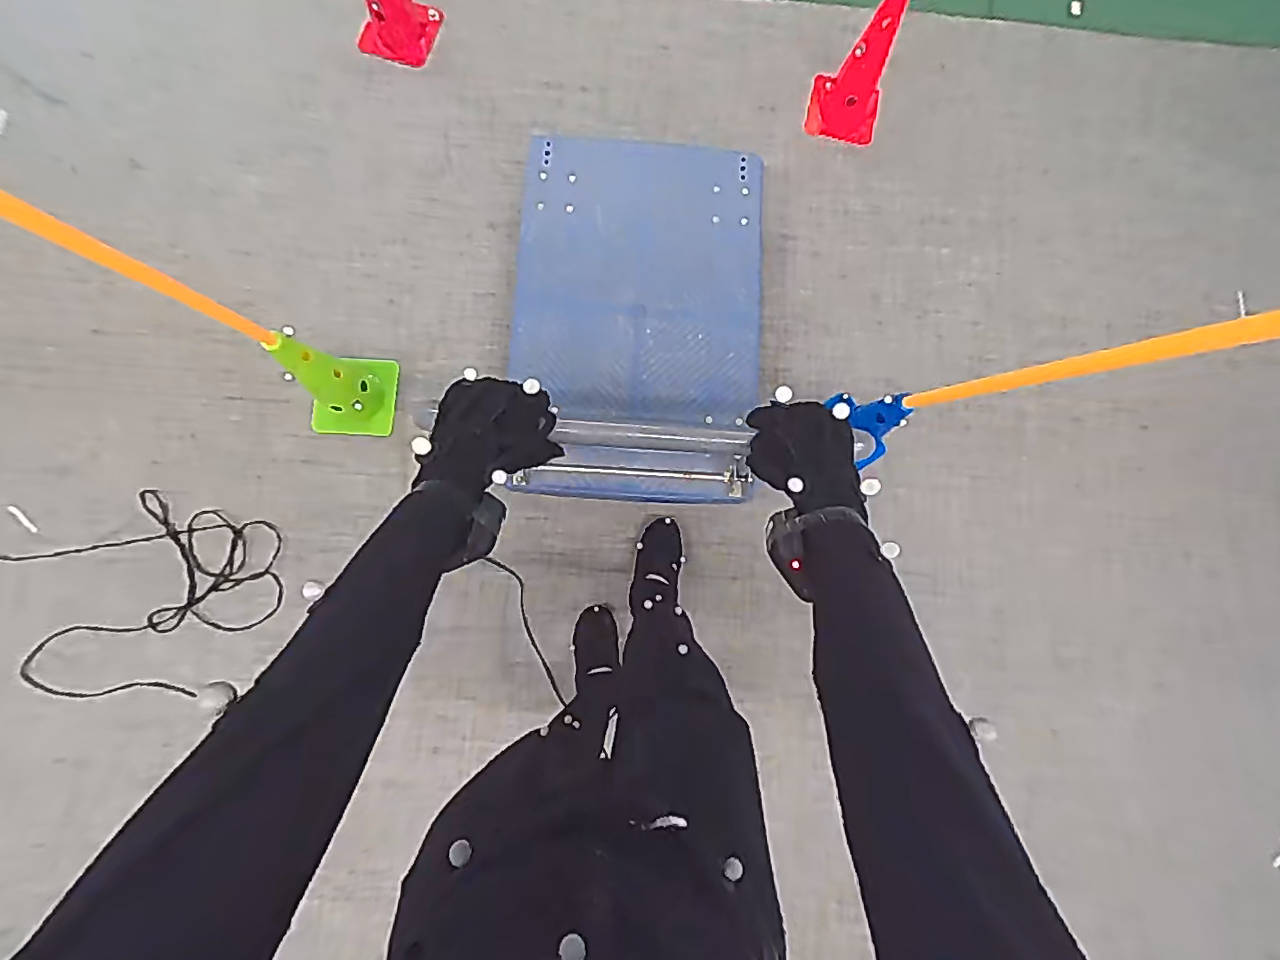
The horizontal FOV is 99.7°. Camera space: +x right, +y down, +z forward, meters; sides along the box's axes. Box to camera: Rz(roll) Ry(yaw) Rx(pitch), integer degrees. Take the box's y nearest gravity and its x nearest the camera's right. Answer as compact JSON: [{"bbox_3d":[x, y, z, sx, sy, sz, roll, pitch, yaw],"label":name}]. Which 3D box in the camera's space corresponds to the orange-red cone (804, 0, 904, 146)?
[{"bbox_3d":[0.591,-1.097,1.402,0.198,0.360,0.199,15,82,0],"label":"orange-red cone"}]
